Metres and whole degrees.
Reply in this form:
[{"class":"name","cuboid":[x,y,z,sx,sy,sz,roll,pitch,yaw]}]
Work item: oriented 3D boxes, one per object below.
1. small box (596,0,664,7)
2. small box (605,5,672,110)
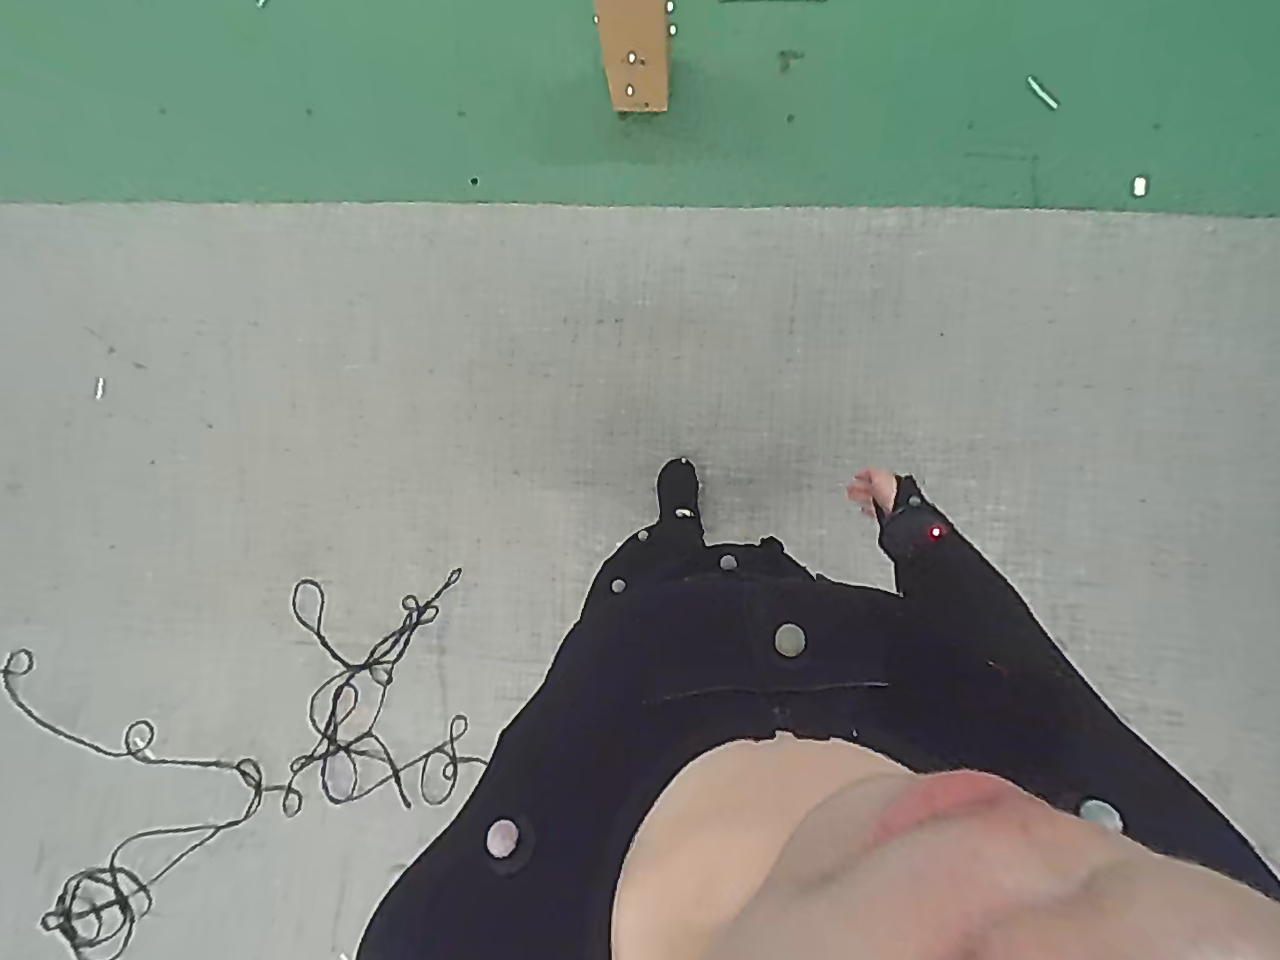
[{"class":"small box","cuboid":[-0.024,-1.204,1.201,0.179,0.176,0.168,7,87,5]},{"class":"small box","cuboid":[0.001,-1.185,1.529,0.168,0.176,0.179,4,85,5]}]
